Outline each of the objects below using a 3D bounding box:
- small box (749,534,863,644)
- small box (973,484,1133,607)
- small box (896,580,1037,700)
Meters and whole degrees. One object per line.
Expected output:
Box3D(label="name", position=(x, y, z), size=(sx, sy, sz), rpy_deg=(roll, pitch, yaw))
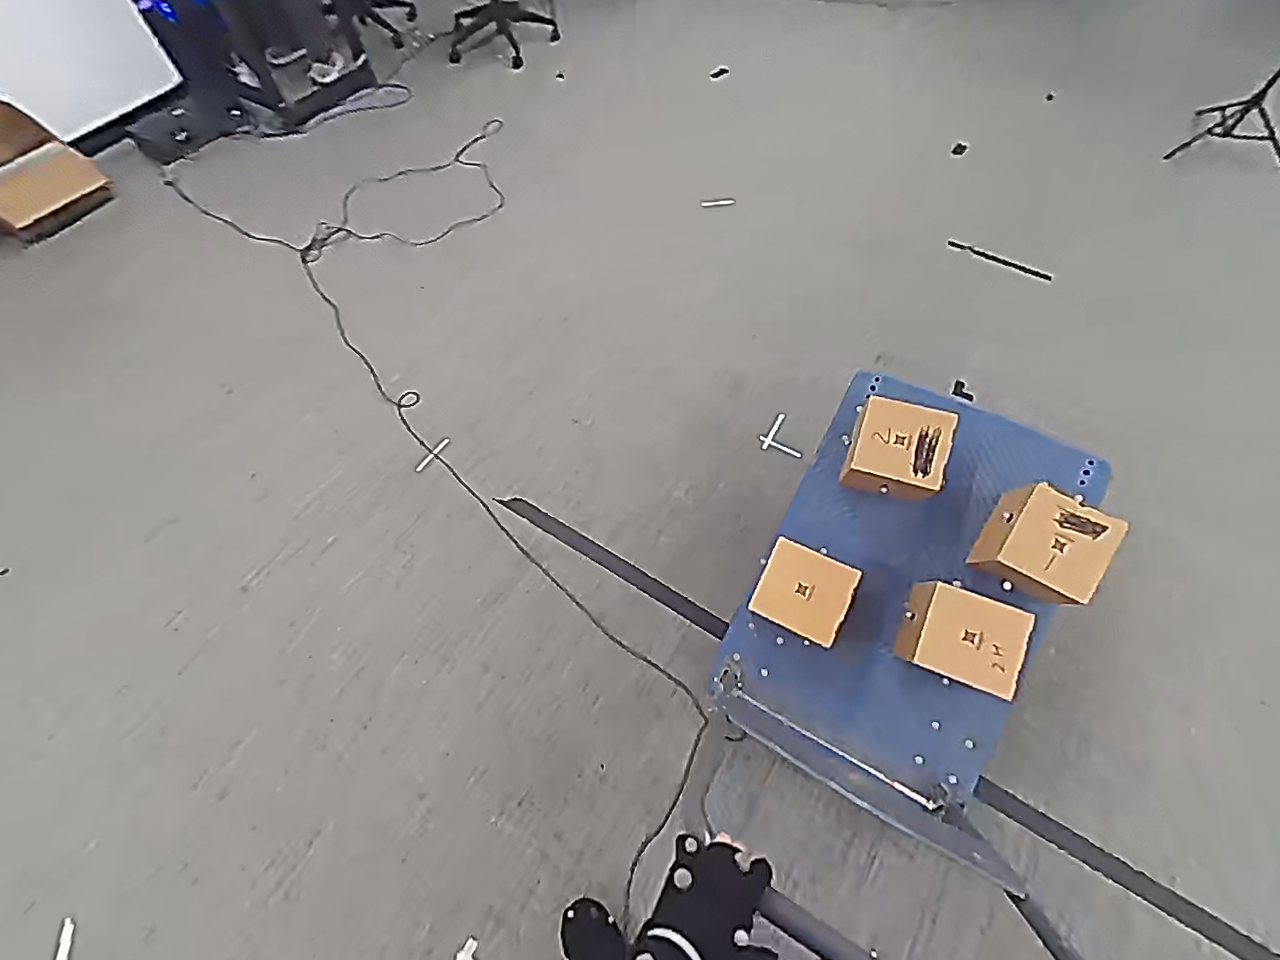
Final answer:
Box3D(label="small box", position=(0.346, 0.233, 1.162), size=(0.179, 0.176, 0.168), rpy_deg=(25, 84, 14))
Box3D(label="small box", position=(0.808, 0.133, 1.082), size=(0.168, 0.176, 0.179), rpy_deg=(31, 87, 17))
Box3D(label="small box", position=(0.638, 0.312, 1.082), size=(0.179, 0.176, 0.168), rpy_deg=(21, 84, 16))
